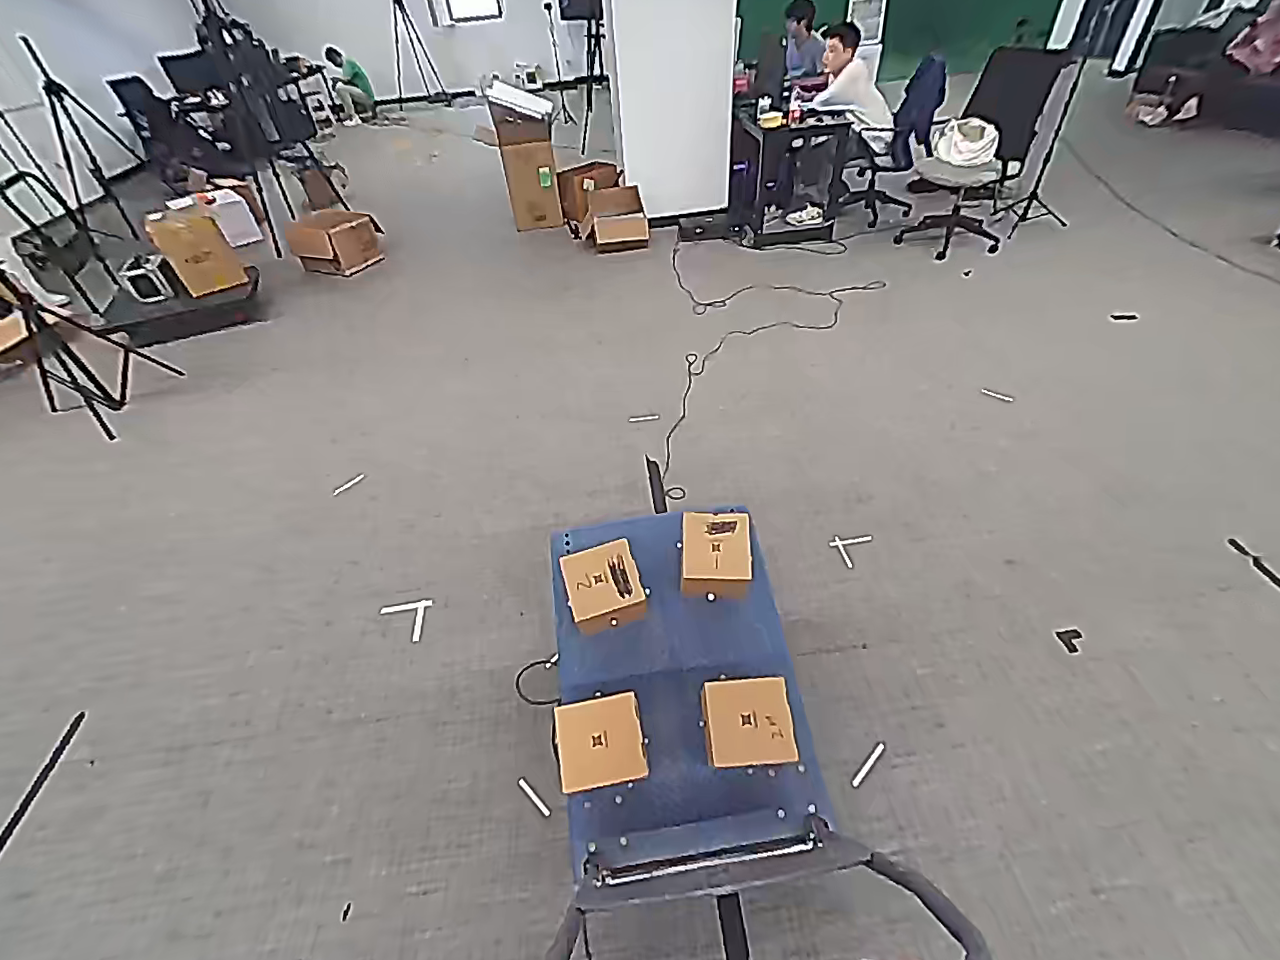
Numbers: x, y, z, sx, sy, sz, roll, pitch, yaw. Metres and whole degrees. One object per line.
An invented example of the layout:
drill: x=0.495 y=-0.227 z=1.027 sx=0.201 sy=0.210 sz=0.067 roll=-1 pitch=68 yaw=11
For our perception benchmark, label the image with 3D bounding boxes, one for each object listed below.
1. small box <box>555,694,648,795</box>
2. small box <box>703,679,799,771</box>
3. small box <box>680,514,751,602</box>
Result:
small box: x=-0.081 y=0.585 z=1.188 sx=0.179 sy=0.176 sz=0.168 roll=-10 pitch=61 yaw=-5
small box: x=0.234 y=0.545 z=1.196 sx=0.179 sy=0.176 sz=0.168 roll=-4 pitch=61 yaw=0
small box: x=0.189 y=0.202 z=1.391 sx=0.168 sy=0.176 sz=0.179 roll=1 pitch=62 yaw=3
